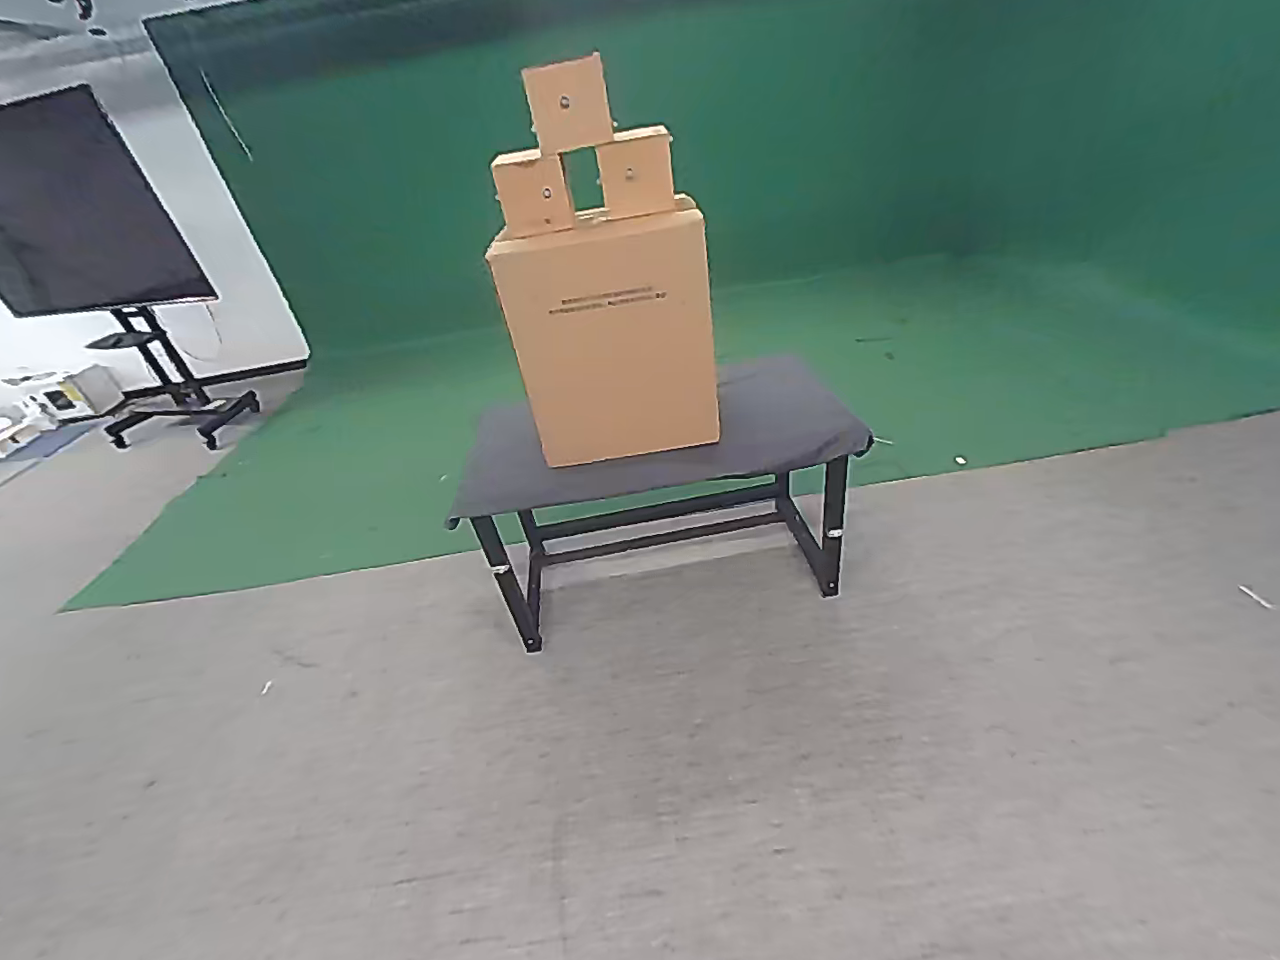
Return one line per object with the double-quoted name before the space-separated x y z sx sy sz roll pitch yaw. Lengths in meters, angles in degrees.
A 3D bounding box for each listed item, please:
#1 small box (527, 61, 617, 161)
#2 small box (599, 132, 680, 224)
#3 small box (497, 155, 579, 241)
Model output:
"small box" -0.152 -0.875 1.284 0.179 0.176 0.168 -11 37 3
"small box" 0.001 -0.767 1.378 0.179 0.176 0.168 -9 38 4
"small box" -0.252 -0.726 1.390 0.168 0.176 0.179 -8 36 1
